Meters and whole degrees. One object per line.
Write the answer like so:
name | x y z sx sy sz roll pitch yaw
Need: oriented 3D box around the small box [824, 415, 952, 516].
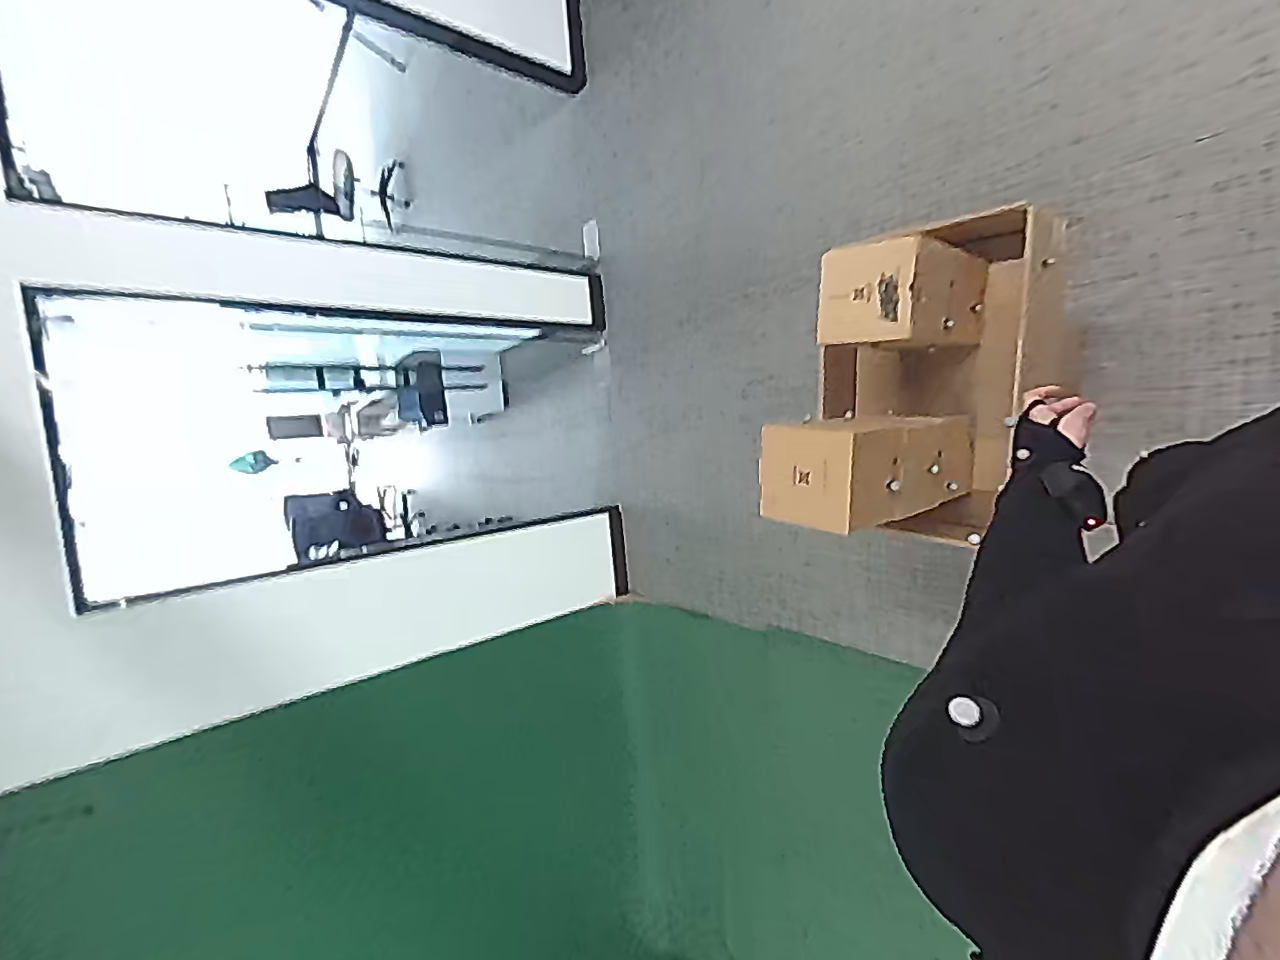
small box | 0.470 -0.036 1.047 0.179 0.176 0.168 13 108 50

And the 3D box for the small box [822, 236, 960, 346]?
small box | 0.463 -0.338 0.999 0.179 0.176 0.168 12 105 50

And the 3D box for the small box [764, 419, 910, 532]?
small box | 0.342 -0.018 0.947 0.179 0.176 0.168 12 107 51
